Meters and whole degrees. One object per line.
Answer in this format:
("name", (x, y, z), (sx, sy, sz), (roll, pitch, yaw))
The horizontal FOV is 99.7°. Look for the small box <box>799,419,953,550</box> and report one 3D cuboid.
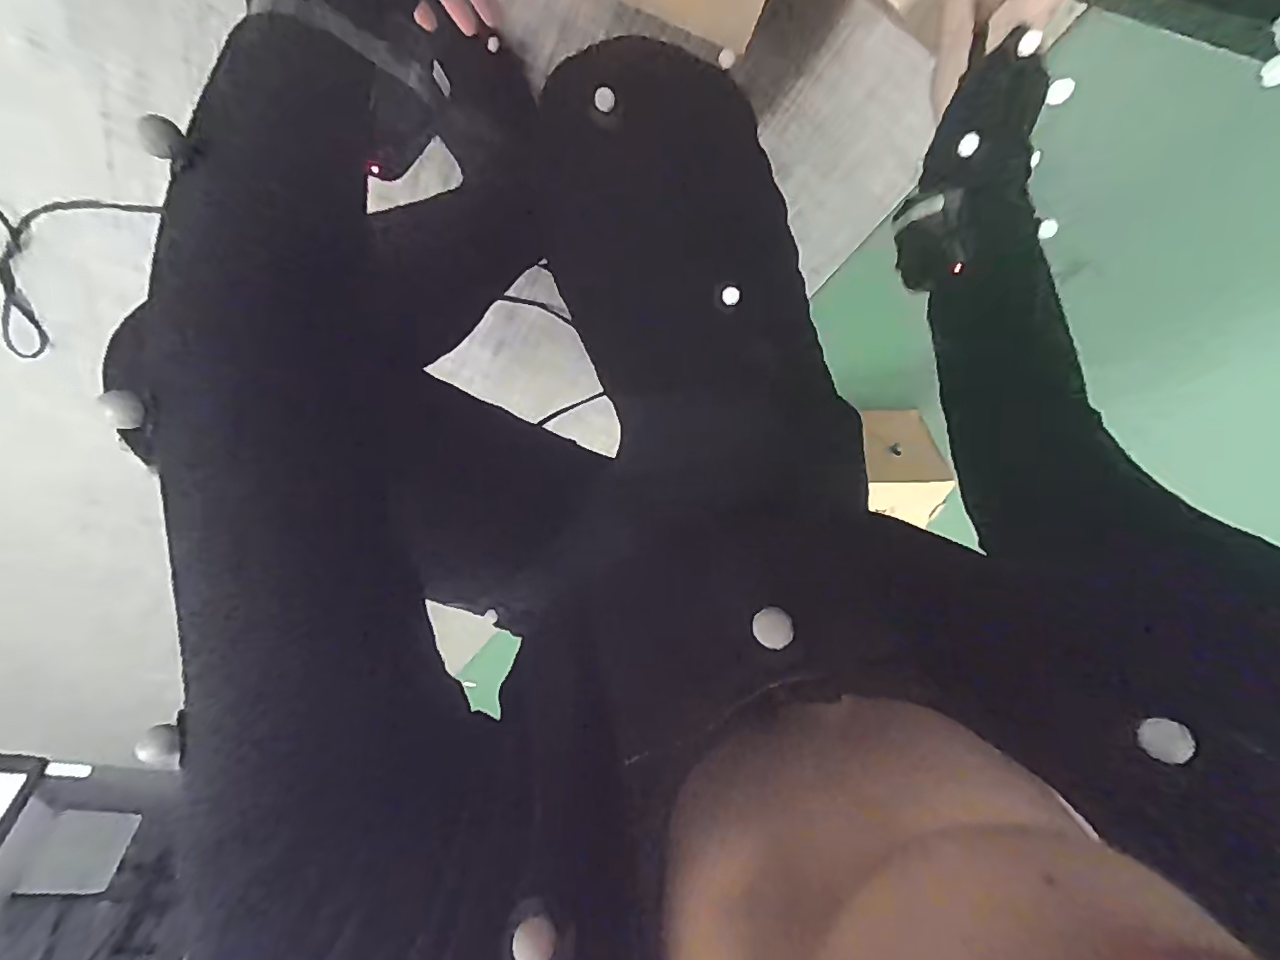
("small box", (0.397, 0.006, 0.946), (0.179, 0.176, 0.168), (-2, 139, -1))
